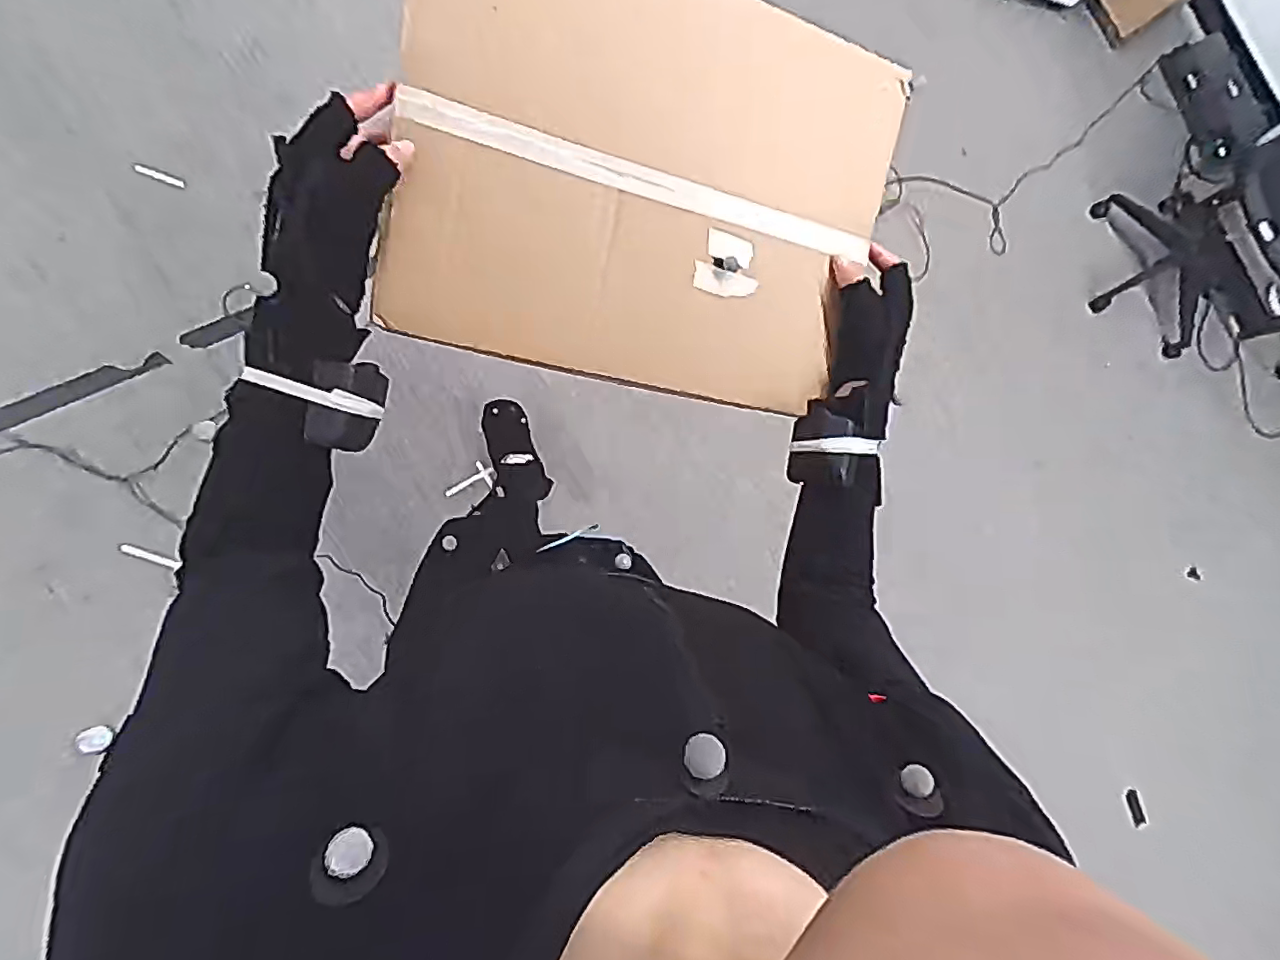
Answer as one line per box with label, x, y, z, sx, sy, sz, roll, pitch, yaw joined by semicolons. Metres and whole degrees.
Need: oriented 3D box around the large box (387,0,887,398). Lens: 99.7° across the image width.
large box;-0.030;-0.286;0.596;0.408;0.320;0.320;8;101;-19
